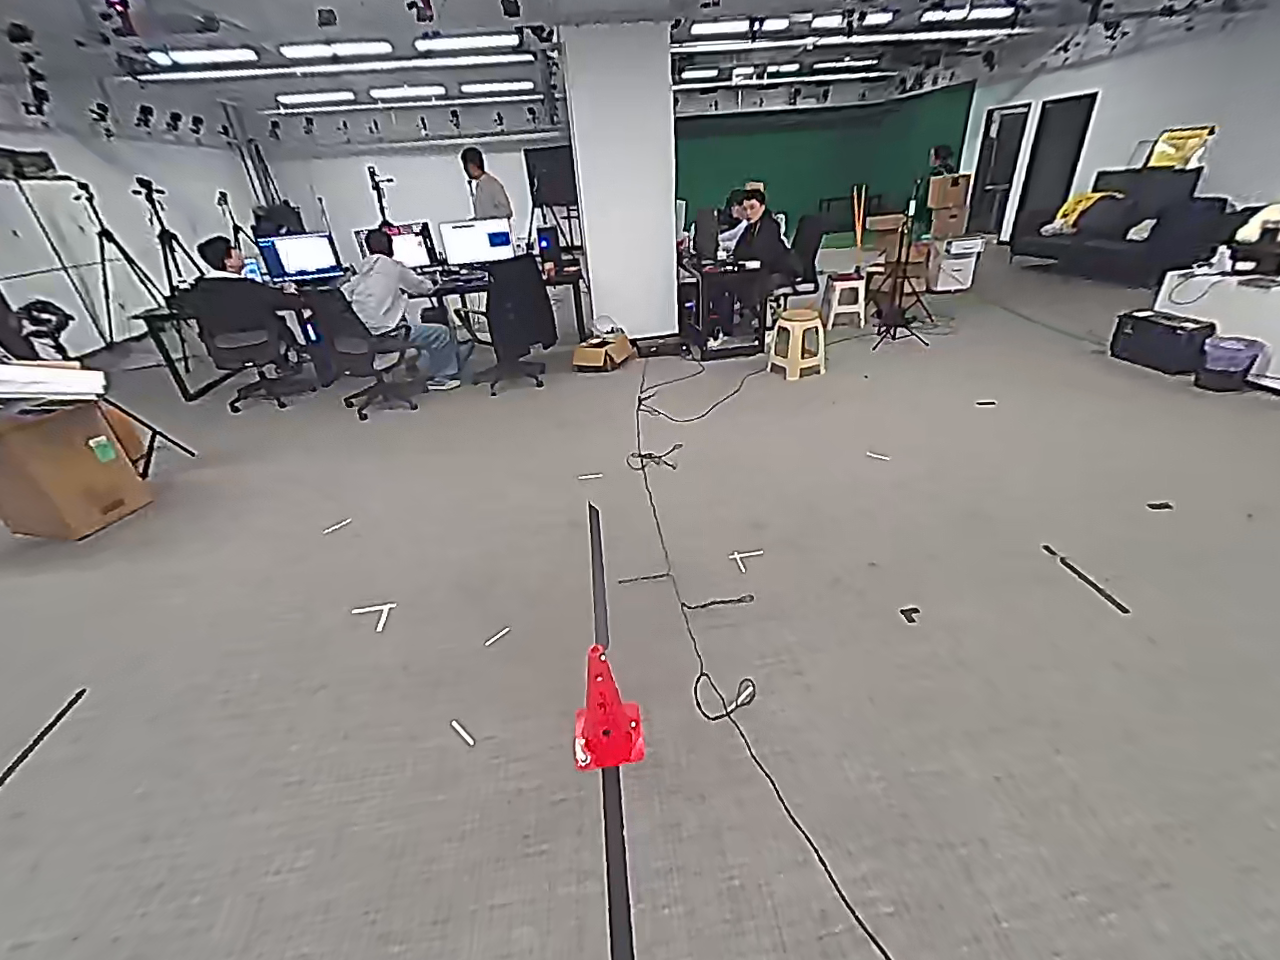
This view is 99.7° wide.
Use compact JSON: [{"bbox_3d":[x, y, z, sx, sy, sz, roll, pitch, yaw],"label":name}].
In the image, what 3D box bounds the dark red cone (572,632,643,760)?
[{"bbox_3d":[-0.107,0.590,1.526,0.201,0.394,0.202,-6,29,-5],"label":"dark red cone"}]
